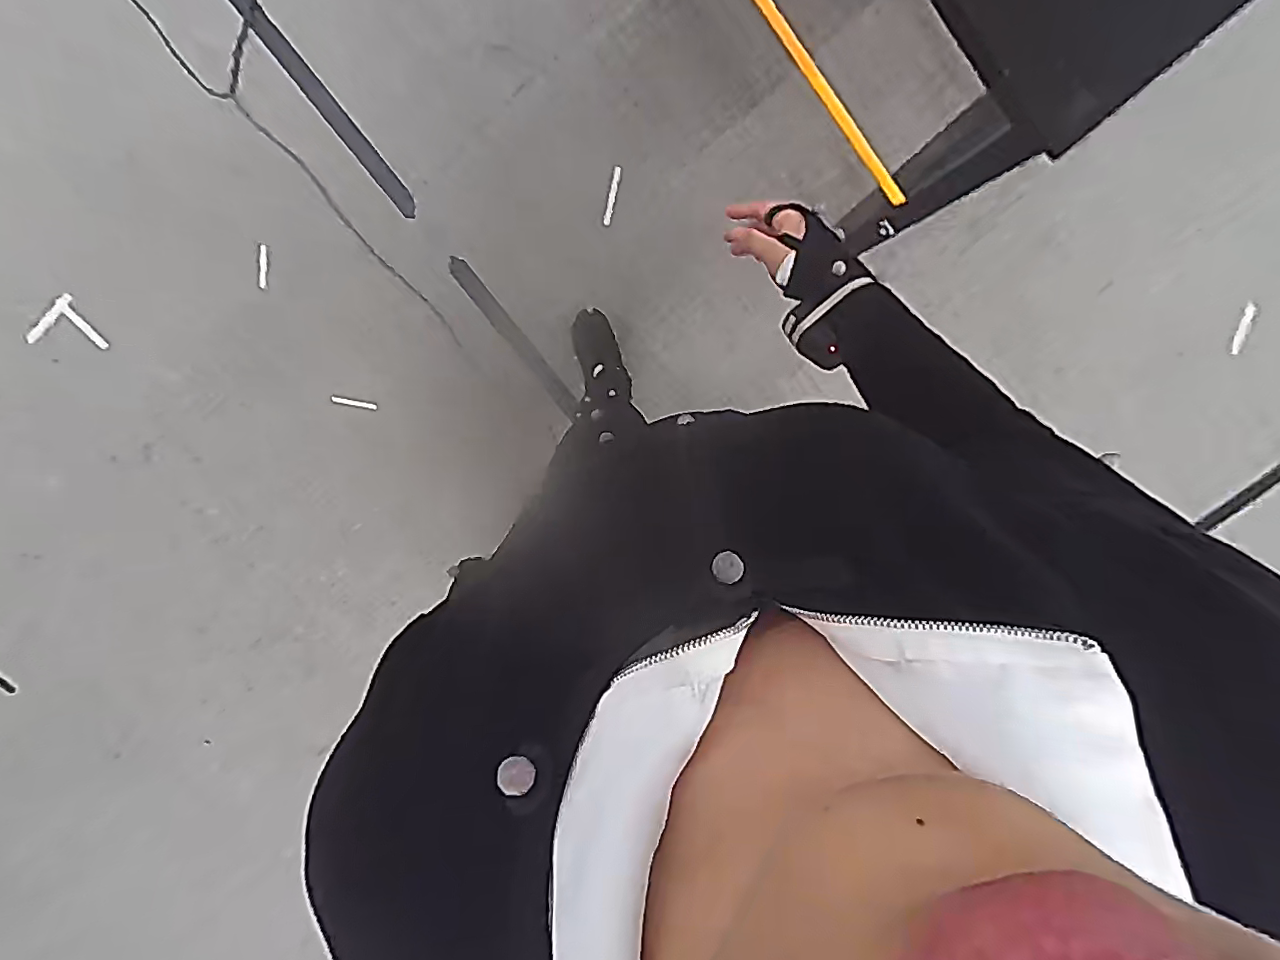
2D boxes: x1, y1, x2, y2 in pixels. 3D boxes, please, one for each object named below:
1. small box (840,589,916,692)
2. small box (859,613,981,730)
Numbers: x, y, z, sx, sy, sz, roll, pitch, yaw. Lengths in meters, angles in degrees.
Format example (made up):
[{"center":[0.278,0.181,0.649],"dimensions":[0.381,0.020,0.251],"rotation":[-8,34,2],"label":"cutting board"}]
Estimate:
[{"center":[0.683,0.439,1.499],"dimensions":[0.179,0.176,0.168],"rotation":[-41,99,7],"label":"small box"},{"center":[0.683,0.465,1.338],"dimensions":[0.168,0.176,0.179],"rotation":[-40,98,5],"label":"small box"}]
